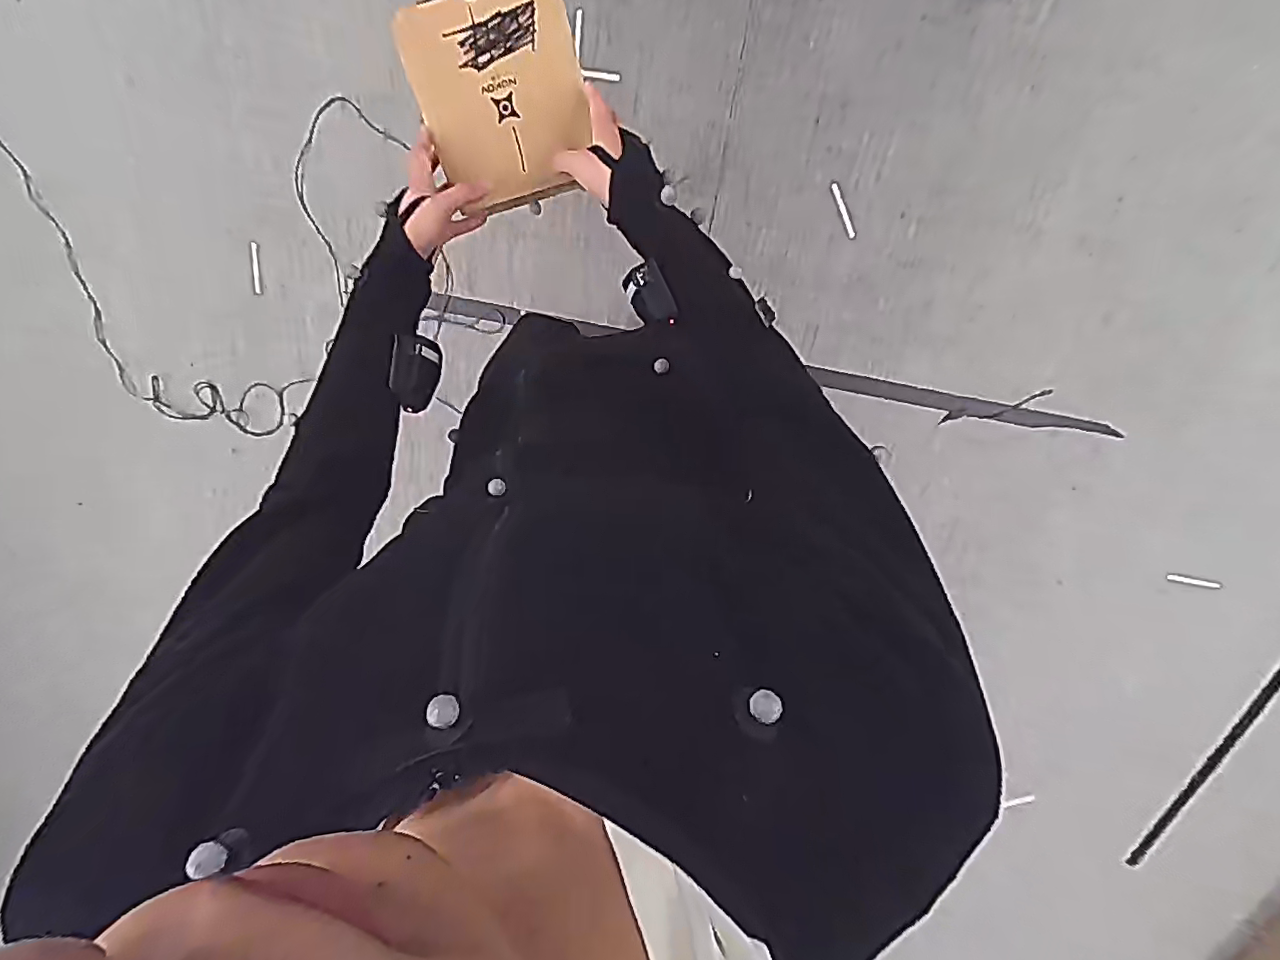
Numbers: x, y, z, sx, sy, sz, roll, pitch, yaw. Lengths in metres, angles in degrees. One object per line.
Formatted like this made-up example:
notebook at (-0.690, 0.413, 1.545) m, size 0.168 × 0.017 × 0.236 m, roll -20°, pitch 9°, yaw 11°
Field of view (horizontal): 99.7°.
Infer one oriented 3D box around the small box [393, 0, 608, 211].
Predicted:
small box at (-0.142, -0.415, 0.603) m, size 0.168 × 0.176 × 0.179 m, roll -16°, pitch 117°, yaw 0°
